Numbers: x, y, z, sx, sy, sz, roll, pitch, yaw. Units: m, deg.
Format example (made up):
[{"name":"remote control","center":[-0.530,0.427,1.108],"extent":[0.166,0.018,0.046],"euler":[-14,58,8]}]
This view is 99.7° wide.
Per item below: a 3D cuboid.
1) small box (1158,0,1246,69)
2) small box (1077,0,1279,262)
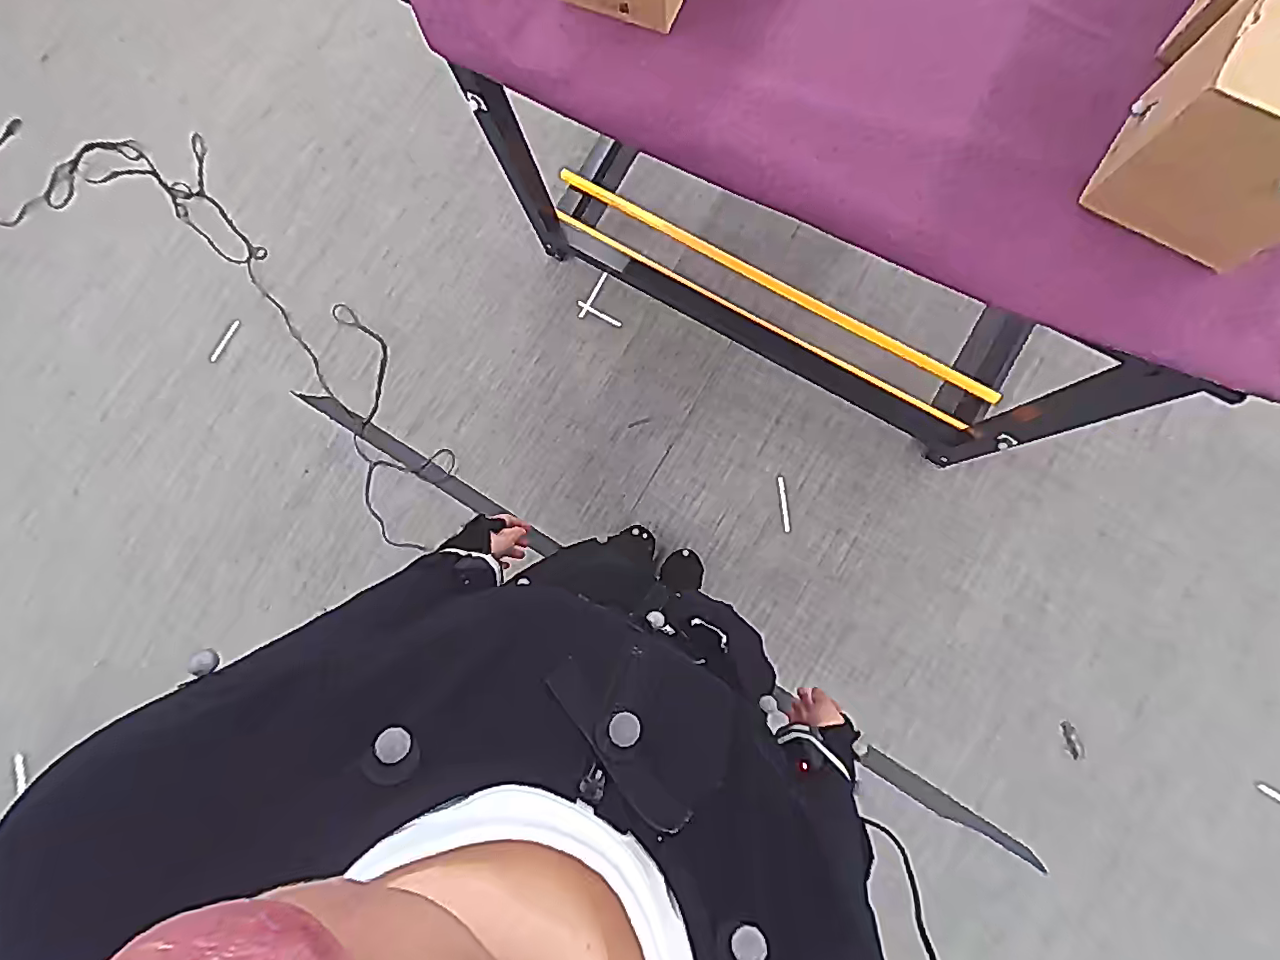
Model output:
[{"name":"small box","center":[0.732,-0.533,0.574],"extent":[0.179,0.176,0.168],"euler":[37,90,6]},{"name":"small box","center":[0.629,-0.361,0.565],"extent":[0.179,0.176,0.168],"euler":[32,86,8]}]
